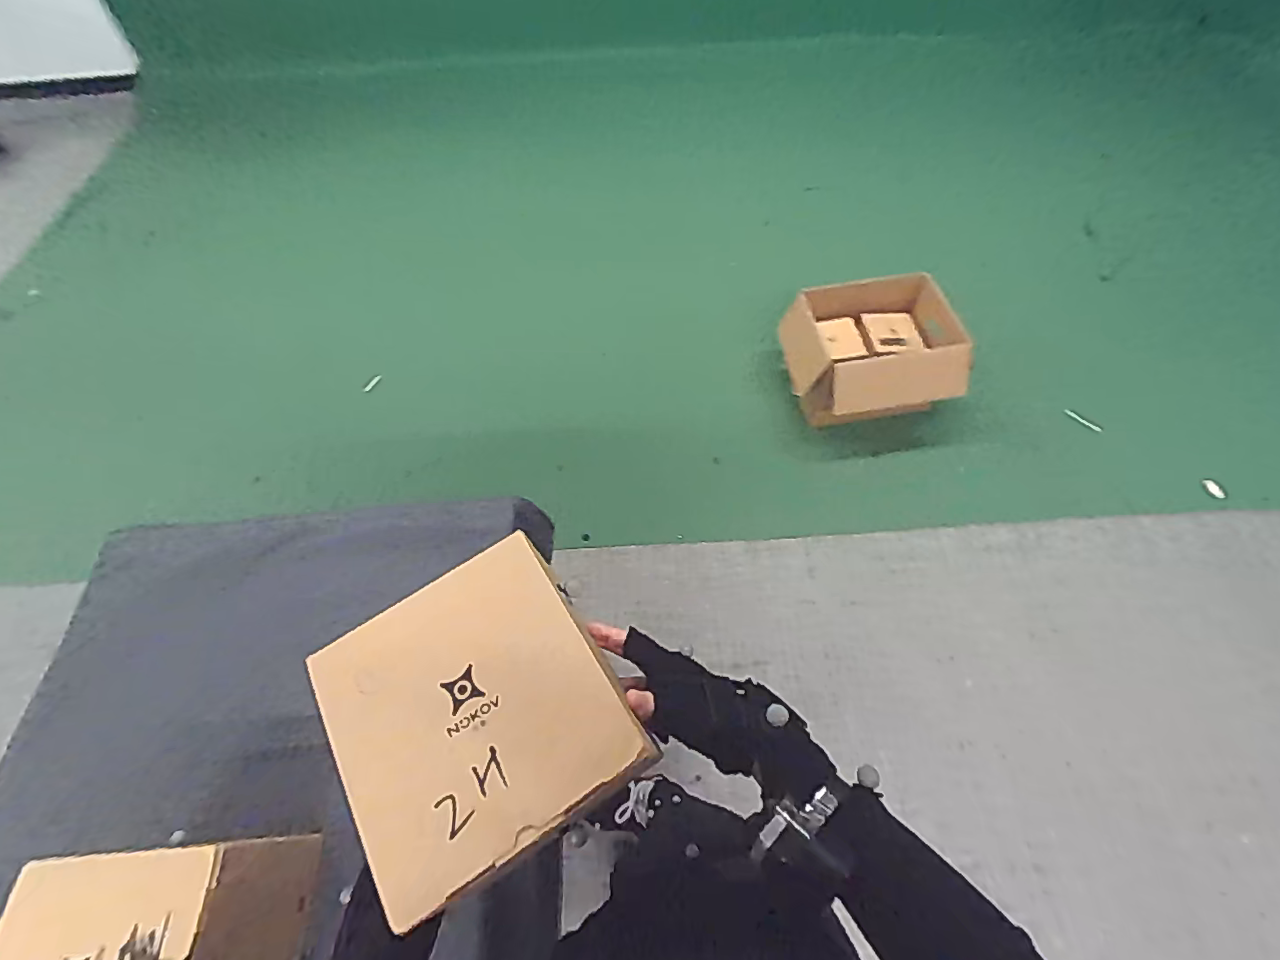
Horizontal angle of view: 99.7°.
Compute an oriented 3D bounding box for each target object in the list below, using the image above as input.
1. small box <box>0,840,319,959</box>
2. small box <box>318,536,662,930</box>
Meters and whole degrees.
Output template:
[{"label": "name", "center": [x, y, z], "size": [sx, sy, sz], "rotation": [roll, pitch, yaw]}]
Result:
[{"label": "small box", "center": [-0.439, 0.442, 0.502], "size": [0.179, 0.176, 0.168], "rotation": [-6, 59, 1]}, {"label": "small box", "center": [-0.098, 0.178, 0.410], "size": [0.168, 0.176, 0.179], "rotation": [-31, 64, -10]}]
